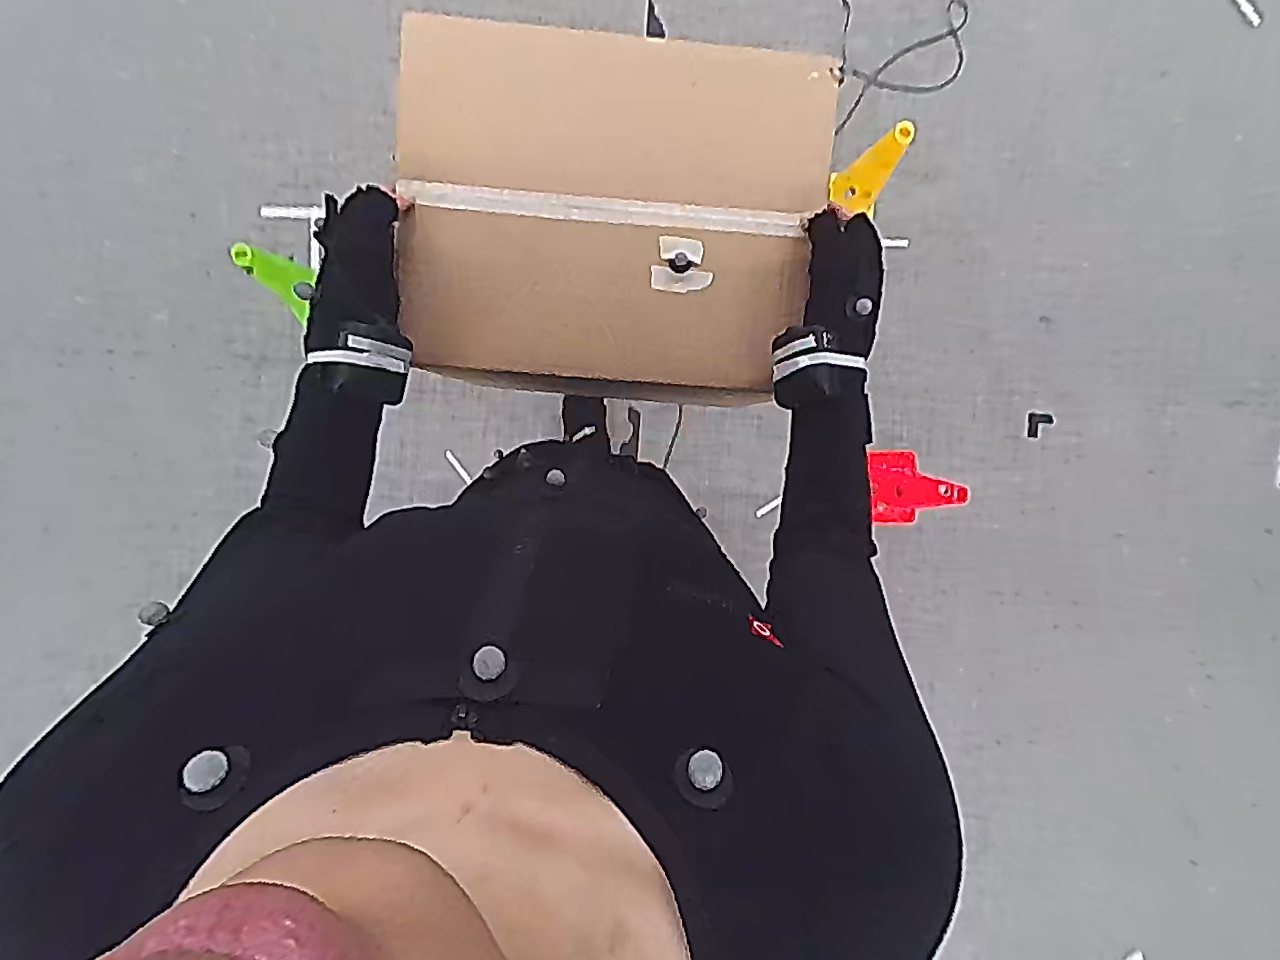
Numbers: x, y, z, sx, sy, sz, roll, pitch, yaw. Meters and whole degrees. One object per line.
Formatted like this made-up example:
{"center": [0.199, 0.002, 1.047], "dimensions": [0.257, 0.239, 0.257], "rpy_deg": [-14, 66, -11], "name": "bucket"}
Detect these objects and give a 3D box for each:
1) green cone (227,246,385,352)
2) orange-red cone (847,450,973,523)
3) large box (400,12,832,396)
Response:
{"center": [-0.795, -0.457, 1.245], "dimensions": [0.202, 0.368, 0.200], "rpy_deg": [-35, 91, 1], "name": "green cone"}
{"center": [0.667, 0.018, 1.298], "dimensions": [0.198, 0.360, 0.199], "rpy_deg": [0, 90, -2], "name": "orange-red cone"}
{"center": [-0.031, -0.278, 0.662], "dimensions": [0.408, 0.320, 0.320], "rpy_deg": [4, 95, -3], "name": "large box"}
